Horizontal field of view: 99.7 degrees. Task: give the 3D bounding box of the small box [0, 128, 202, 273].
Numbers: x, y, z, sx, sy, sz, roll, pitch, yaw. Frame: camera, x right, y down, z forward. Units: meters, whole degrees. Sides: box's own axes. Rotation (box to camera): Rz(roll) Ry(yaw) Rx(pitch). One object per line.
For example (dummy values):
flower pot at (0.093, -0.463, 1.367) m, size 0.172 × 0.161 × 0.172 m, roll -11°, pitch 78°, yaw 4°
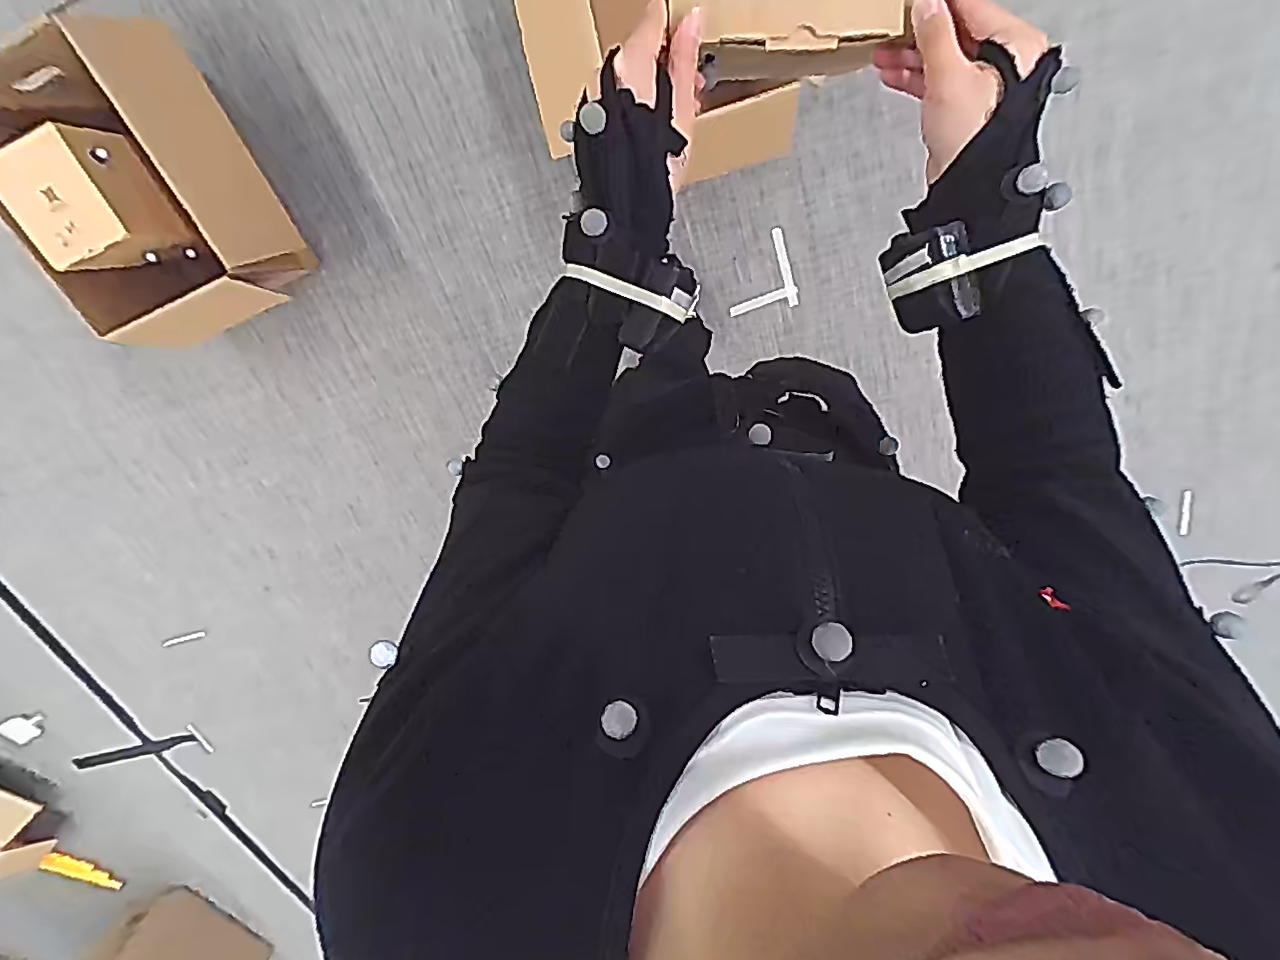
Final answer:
small box at (-0.954, -0.485, 0.962) m, size 0.168 × 0.176 × 0.179 m, roll -18°, pitch 112°, yaw 10°
